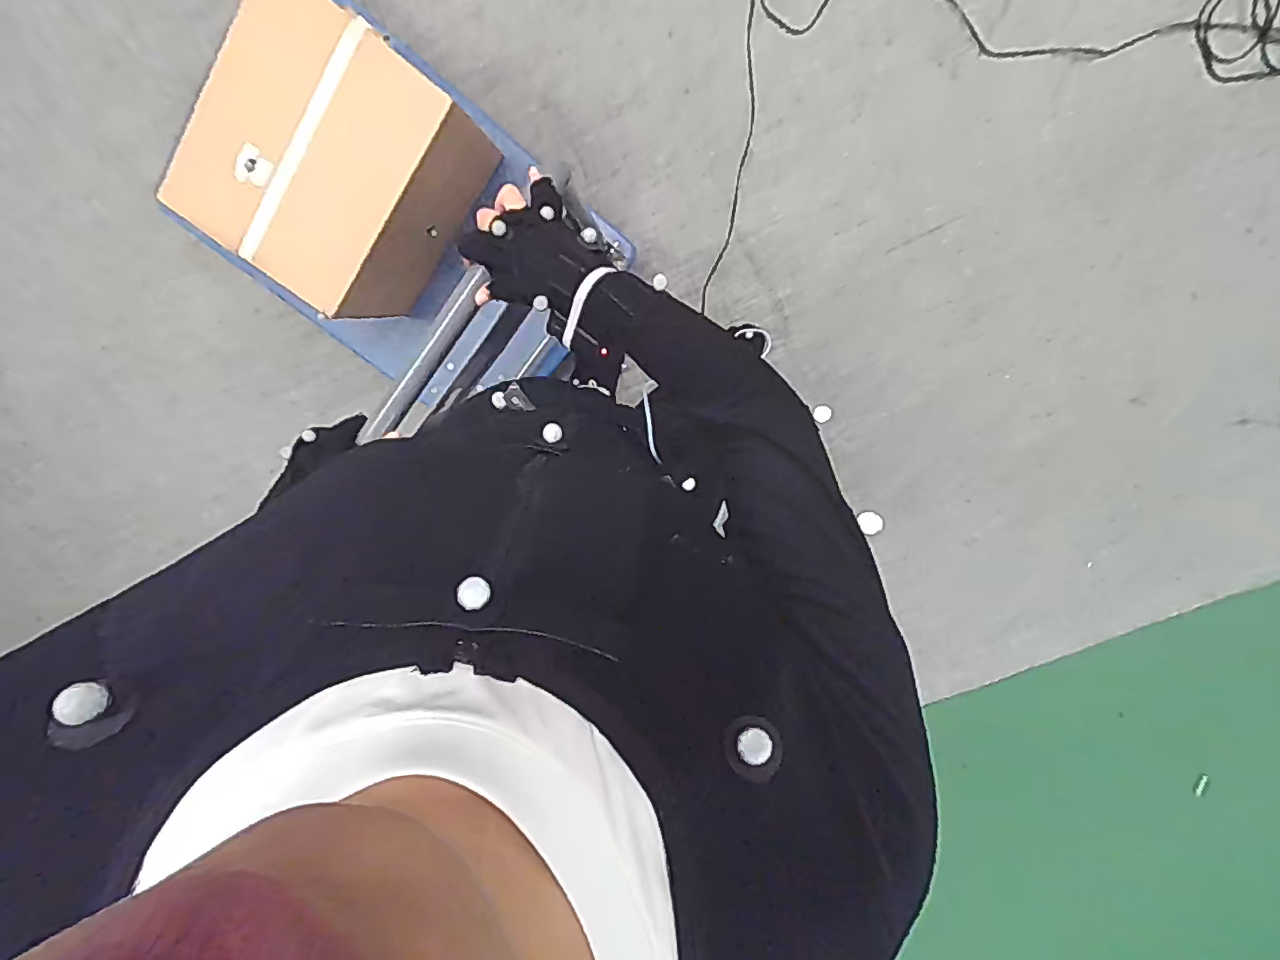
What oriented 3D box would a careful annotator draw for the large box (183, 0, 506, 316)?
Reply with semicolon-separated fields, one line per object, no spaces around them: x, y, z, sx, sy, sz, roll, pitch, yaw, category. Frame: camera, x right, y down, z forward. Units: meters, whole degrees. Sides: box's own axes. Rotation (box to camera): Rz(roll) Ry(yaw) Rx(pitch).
-0.510;-0.569;1.001;0.320;0.320;0.408;36;105;-9;large box
